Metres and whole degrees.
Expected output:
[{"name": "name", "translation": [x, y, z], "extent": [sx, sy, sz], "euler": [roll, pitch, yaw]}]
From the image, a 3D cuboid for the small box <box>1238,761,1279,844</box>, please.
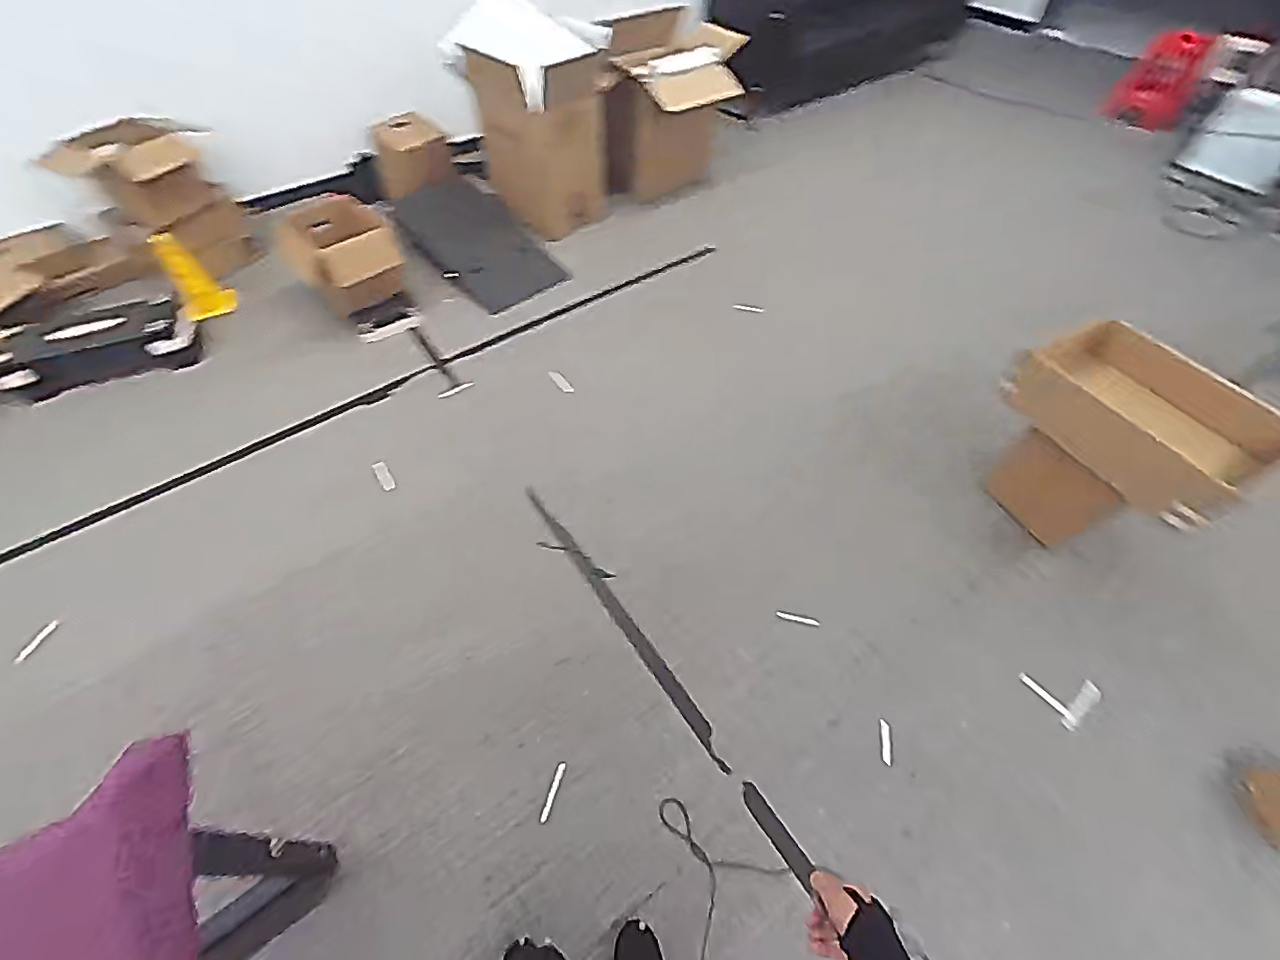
[{"name": "small box", "translation": [1.630, 0.776, 1.306], "extent": [0.179, 0.176, 0.168], "euler": [-4, 53, -3]}]
